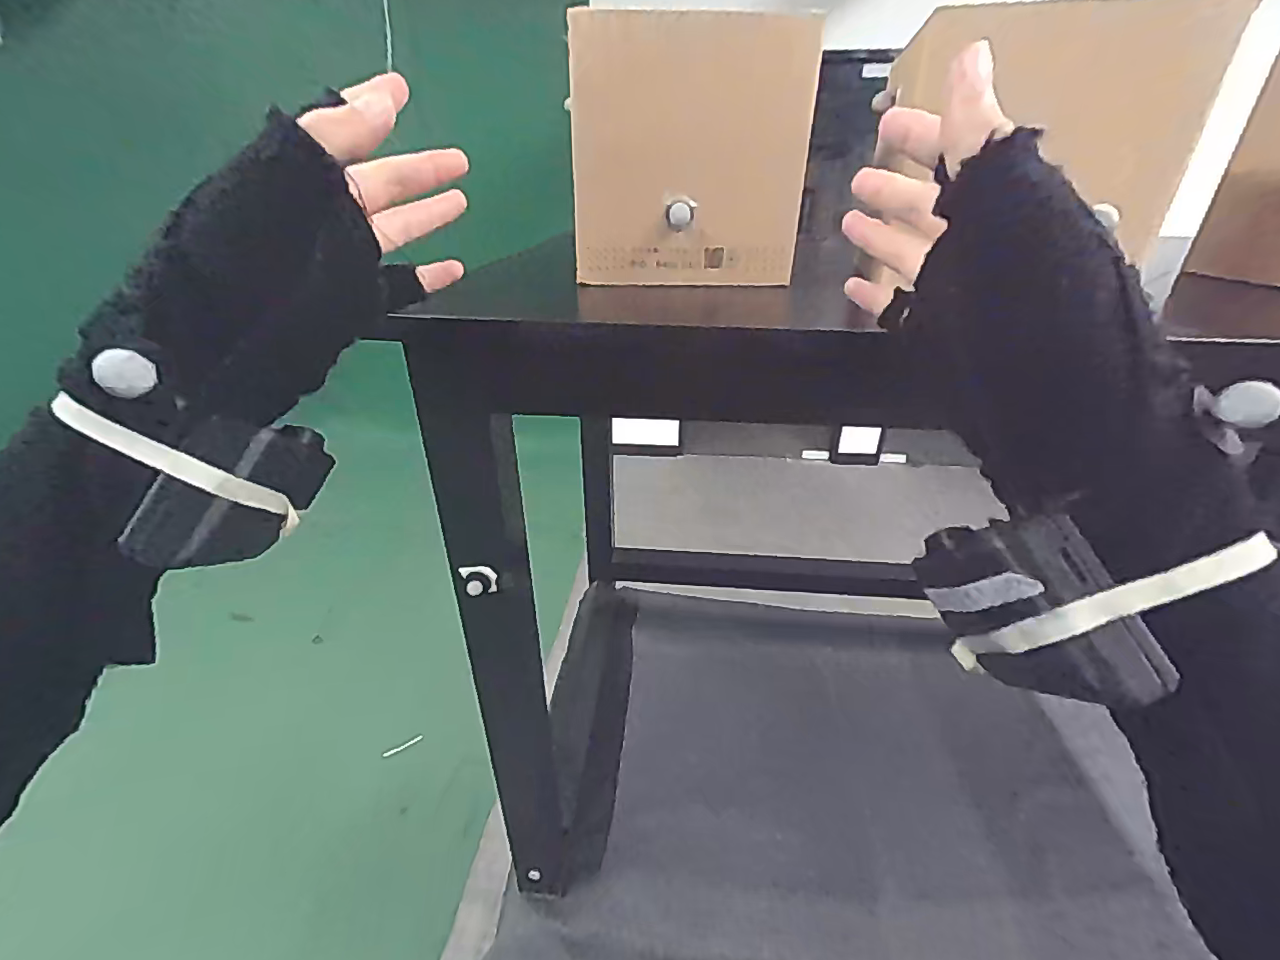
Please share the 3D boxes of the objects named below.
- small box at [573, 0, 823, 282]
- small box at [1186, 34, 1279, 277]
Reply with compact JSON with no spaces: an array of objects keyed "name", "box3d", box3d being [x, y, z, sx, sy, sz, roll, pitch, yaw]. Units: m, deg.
[{"name":"small box","box3d":[0.036,-0.271,0.458,0.168,0.176,0.179,0,29,-1]},{"name":"small box","box3d":[0.567,-0.230,0.382,0.168,0.176,0.179,0,29,1]}]
